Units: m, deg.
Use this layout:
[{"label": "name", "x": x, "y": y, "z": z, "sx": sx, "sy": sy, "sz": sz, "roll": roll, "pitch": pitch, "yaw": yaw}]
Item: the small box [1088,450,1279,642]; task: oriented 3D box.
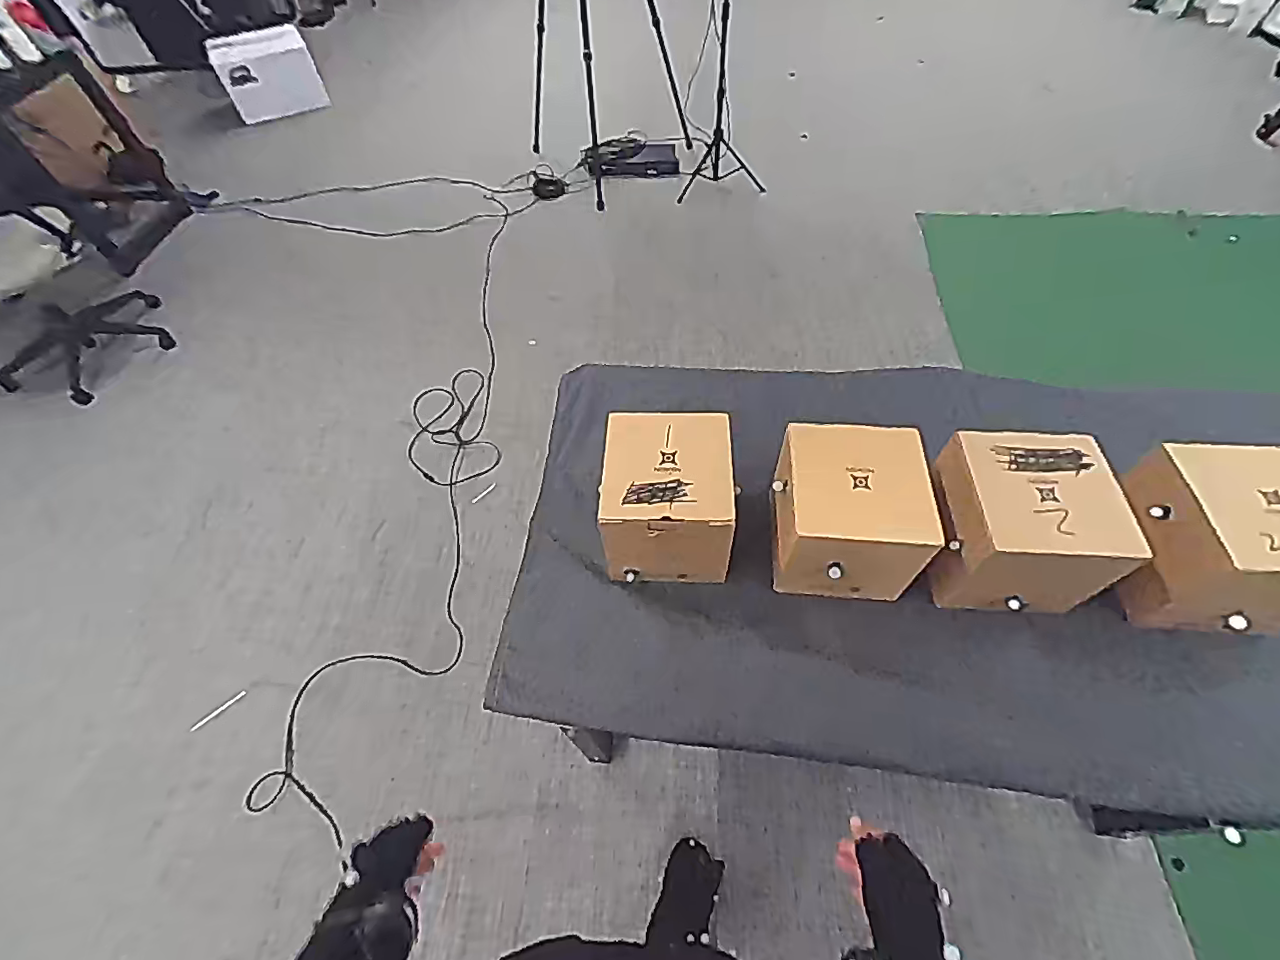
[{"label": "small box", "x": 0.720, "y": 0.084, "z": 0.677, "sx": 0.168, "sy": 0.176, "sz": 0.179, "roll": 2, "pitch": 54, "yaw": 6}]

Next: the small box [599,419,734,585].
[{"label": "small box", "x": 0.041, "y": 0.034, "z": 0.755, "sx": 0.168, "sy": 0.176, "sz": 0.179, "roll": 1, "pitch": 53, "yaw": 4}]
